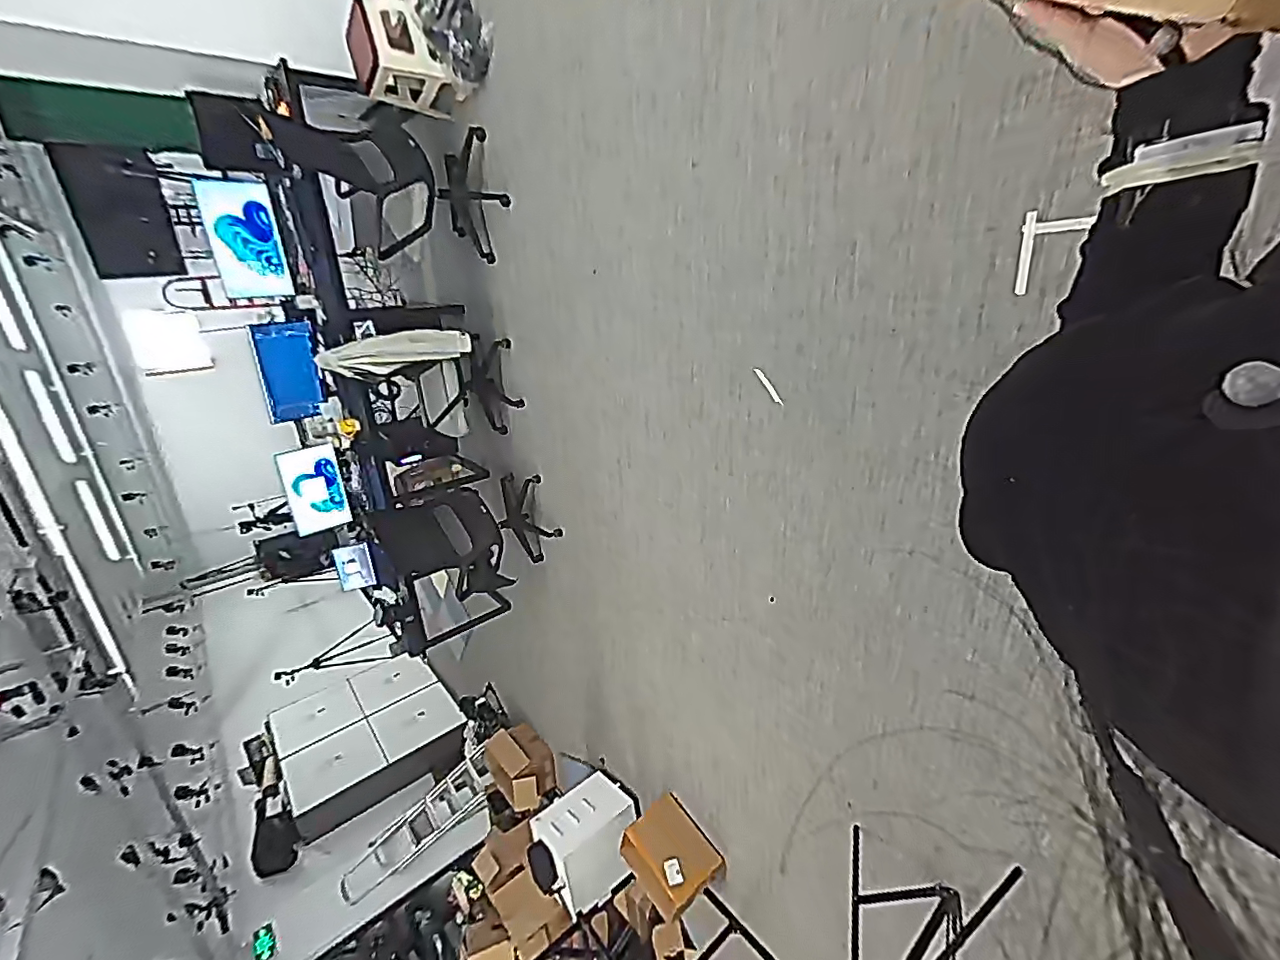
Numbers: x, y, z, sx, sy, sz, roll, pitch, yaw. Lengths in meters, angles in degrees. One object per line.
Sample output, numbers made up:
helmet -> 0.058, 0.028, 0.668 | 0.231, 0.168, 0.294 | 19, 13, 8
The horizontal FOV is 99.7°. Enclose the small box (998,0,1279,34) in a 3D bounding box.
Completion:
small box -> 0.260, -0.317, 0.239 | 0.179, 0.176, 0.168 | 50, 149, 34
